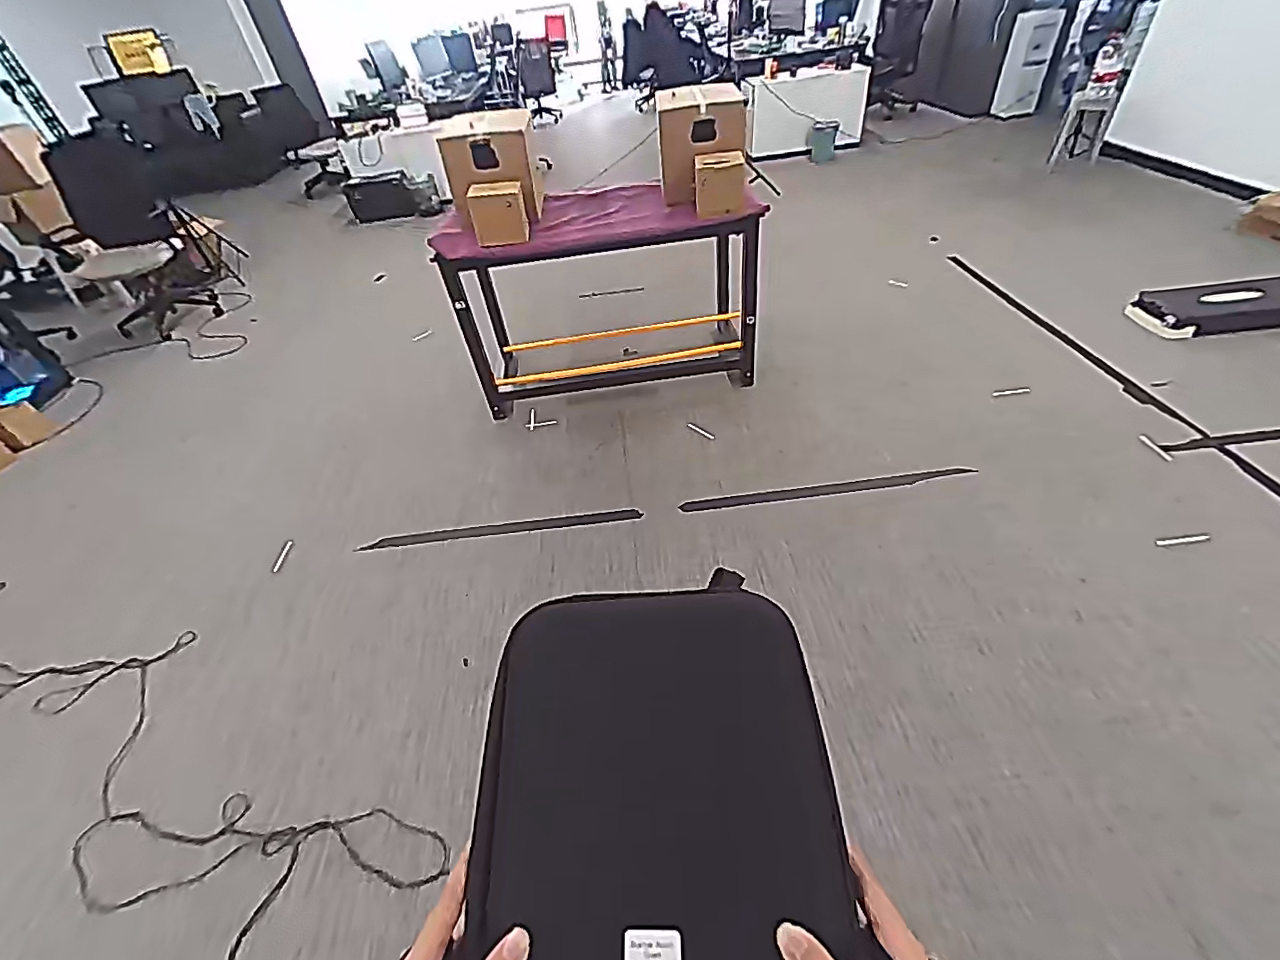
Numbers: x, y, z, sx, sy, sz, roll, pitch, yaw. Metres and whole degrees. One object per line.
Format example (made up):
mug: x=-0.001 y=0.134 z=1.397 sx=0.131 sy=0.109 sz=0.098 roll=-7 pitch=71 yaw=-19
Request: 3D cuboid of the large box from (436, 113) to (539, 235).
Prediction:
large box: x=-0.578 y=-1.216 z=2.138 sx=0.320 sy=0.320 sz=0.408 roll=-7 pitch=45 yaw=-1
